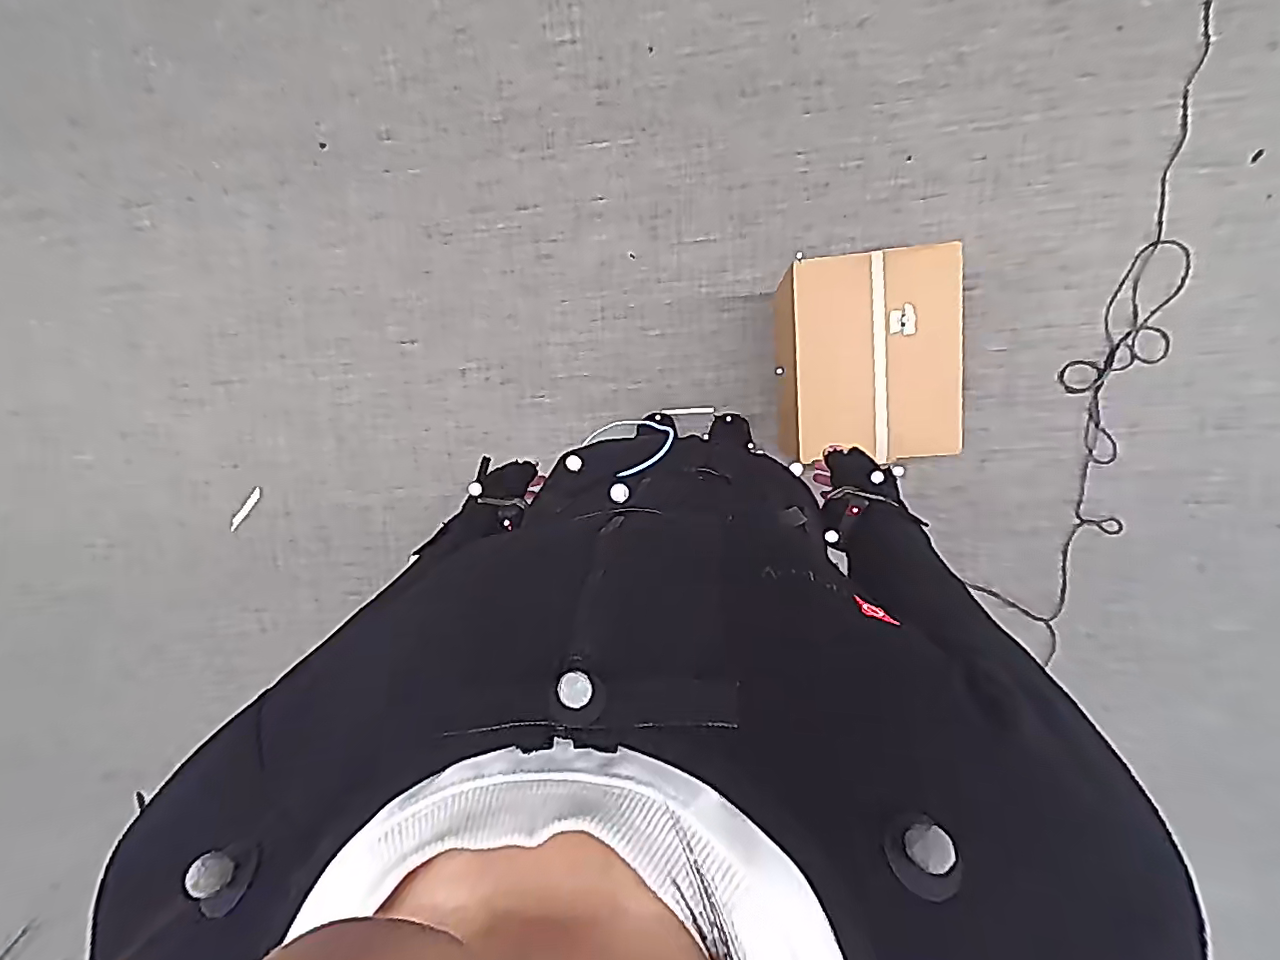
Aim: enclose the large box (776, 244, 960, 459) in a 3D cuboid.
[{"bbox_3d":[0.489,-0.265,1.225,0.320,0.320,0.408,-4,96,6],"label":"large box"}]
